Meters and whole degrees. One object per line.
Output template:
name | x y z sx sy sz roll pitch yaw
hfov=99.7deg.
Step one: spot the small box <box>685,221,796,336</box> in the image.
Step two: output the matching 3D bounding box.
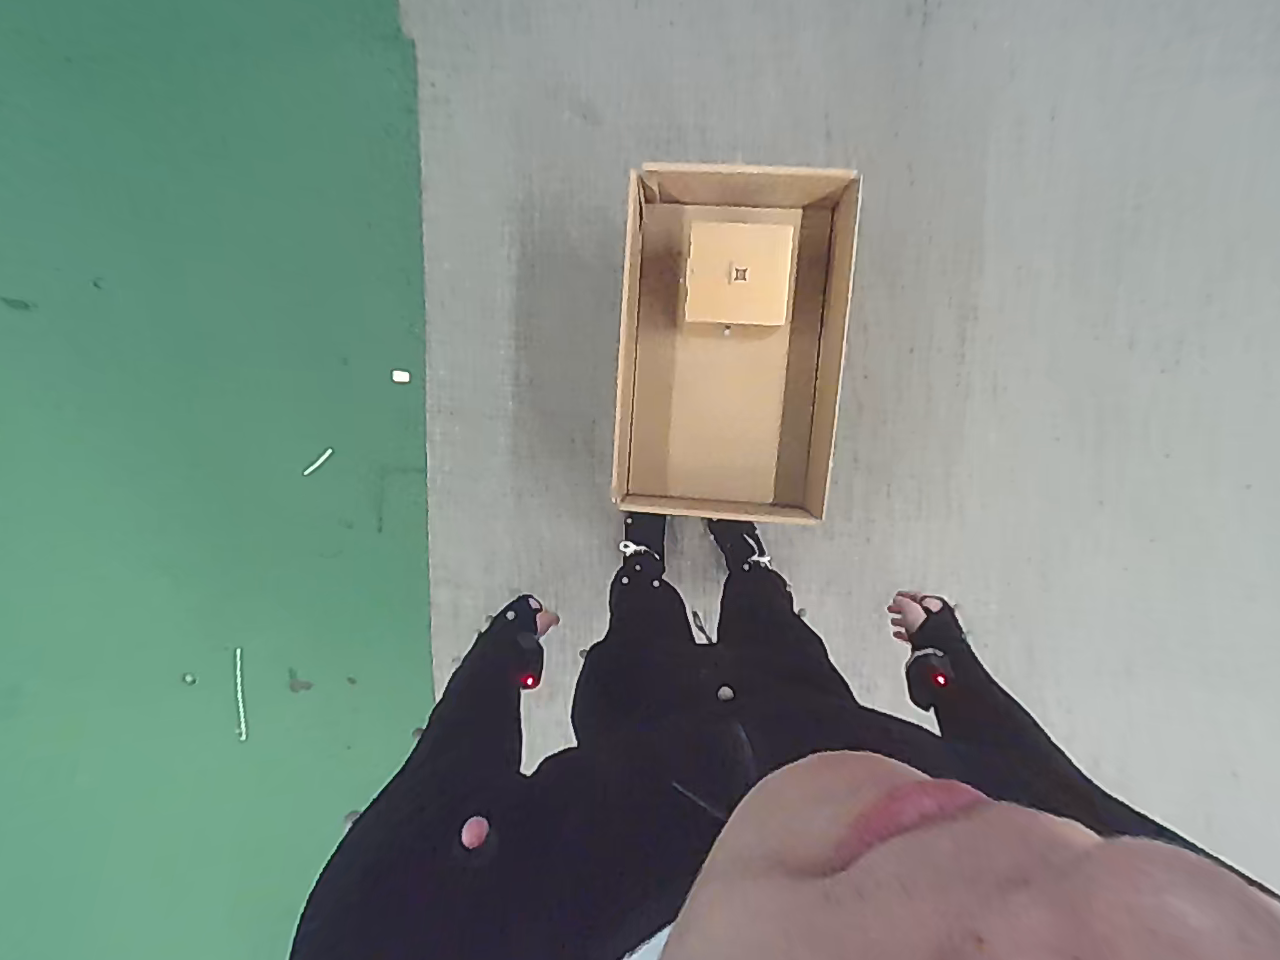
small box | 0.176 -0.361 0.996 0.179 0.176 0.168 4 98 5
